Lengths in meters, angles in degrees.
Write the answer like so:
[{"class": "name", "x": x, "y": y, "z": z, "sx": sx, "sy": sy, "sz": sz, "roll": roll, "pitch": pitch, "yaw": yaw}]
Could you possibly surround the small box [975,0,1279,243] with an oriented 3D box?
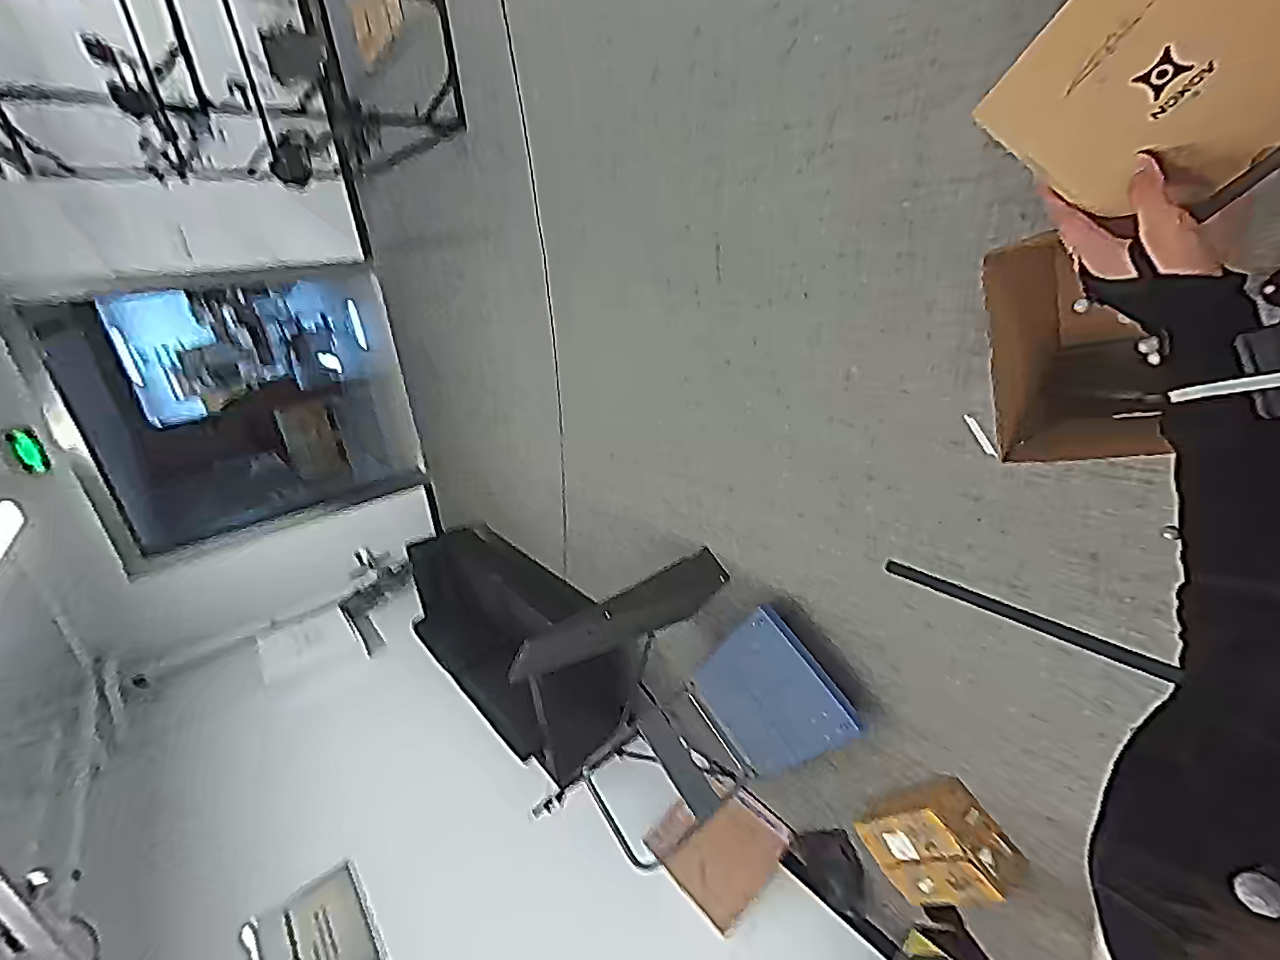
[{"class": "small box", "x": 0.405, "y": -0.323, "z": 0.412, "sx": 0.179, "sy": 0.176, "sz": 0.168, "roll": 45, "pitch": 141, "yaw": 4}]
